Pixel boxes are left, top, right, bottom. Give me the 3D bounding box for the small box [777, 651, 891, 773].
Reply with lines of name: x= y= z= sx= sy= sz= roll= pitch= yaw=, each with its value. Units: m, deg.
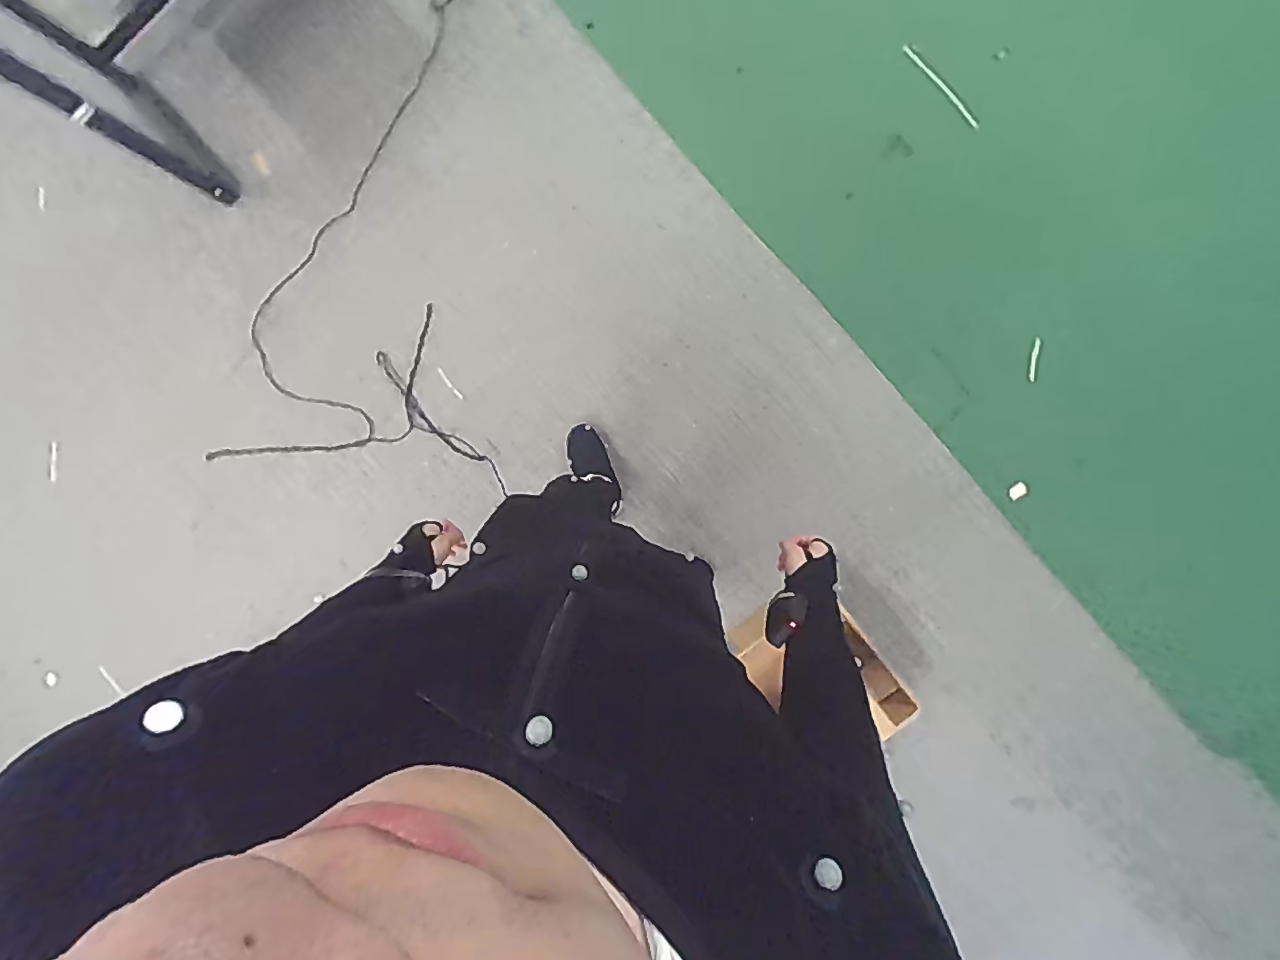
small box: x=0.455 y=0.545 z=1.297 sx=0.168 sy=0.176 sz=0.179 roll=-39 pitch=87 yaw=5
